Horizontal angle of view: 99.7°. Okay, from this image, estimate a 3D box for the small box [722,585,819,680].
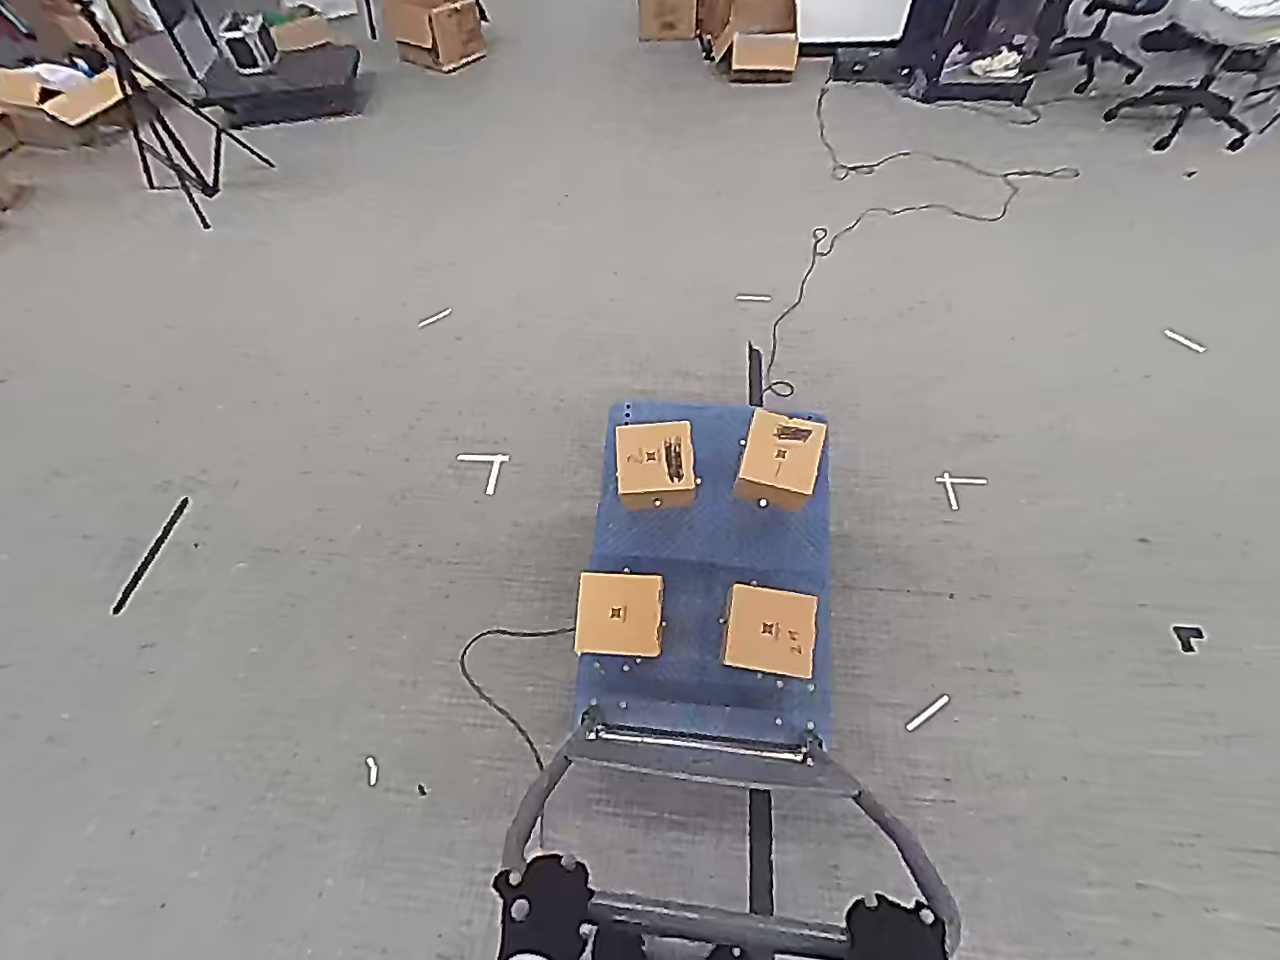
[{"bbox_3d":[0.277,0.333,1.177,0.179,0.176,0.168,8,74,7],"label":"small box"}]

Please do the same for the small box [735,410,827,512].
[{"bbox_3d":[0.329,-0.039,1.290,0.168,0.176,0.179,14,75,8],"label":"small box"}]

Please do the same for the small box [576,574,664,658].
[{"bbox_3d":[-0.038,0.307,1.207,0.179,0.176,0.168,2,73,3],"label":"small box"}]
